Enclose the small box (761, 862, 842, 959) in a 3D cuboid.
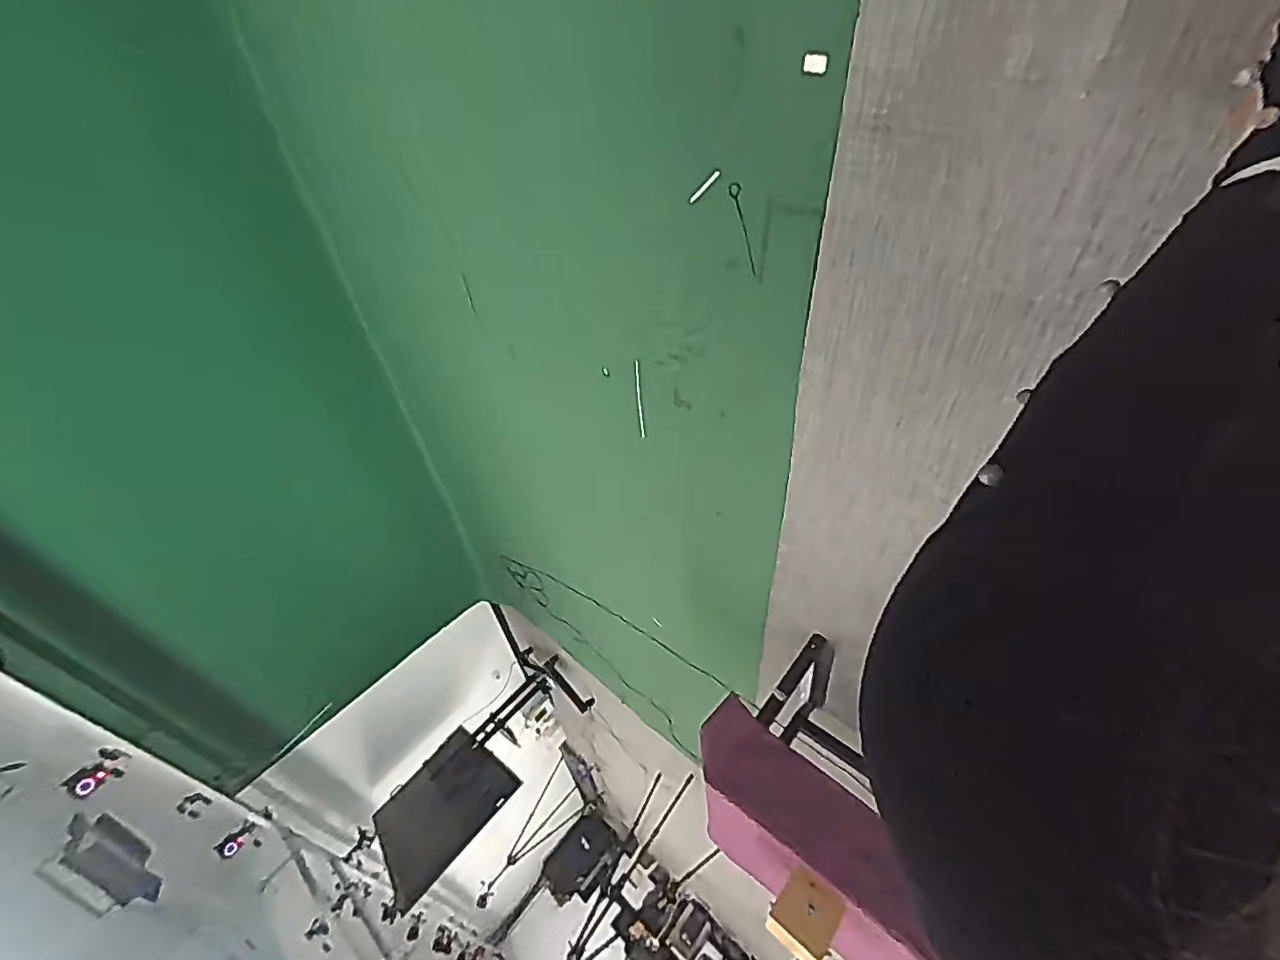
[{"bbox_3d":[0.478,1.283,1.604,0.168,0.176,0.179,28,143,33],"label":"small box"}]
